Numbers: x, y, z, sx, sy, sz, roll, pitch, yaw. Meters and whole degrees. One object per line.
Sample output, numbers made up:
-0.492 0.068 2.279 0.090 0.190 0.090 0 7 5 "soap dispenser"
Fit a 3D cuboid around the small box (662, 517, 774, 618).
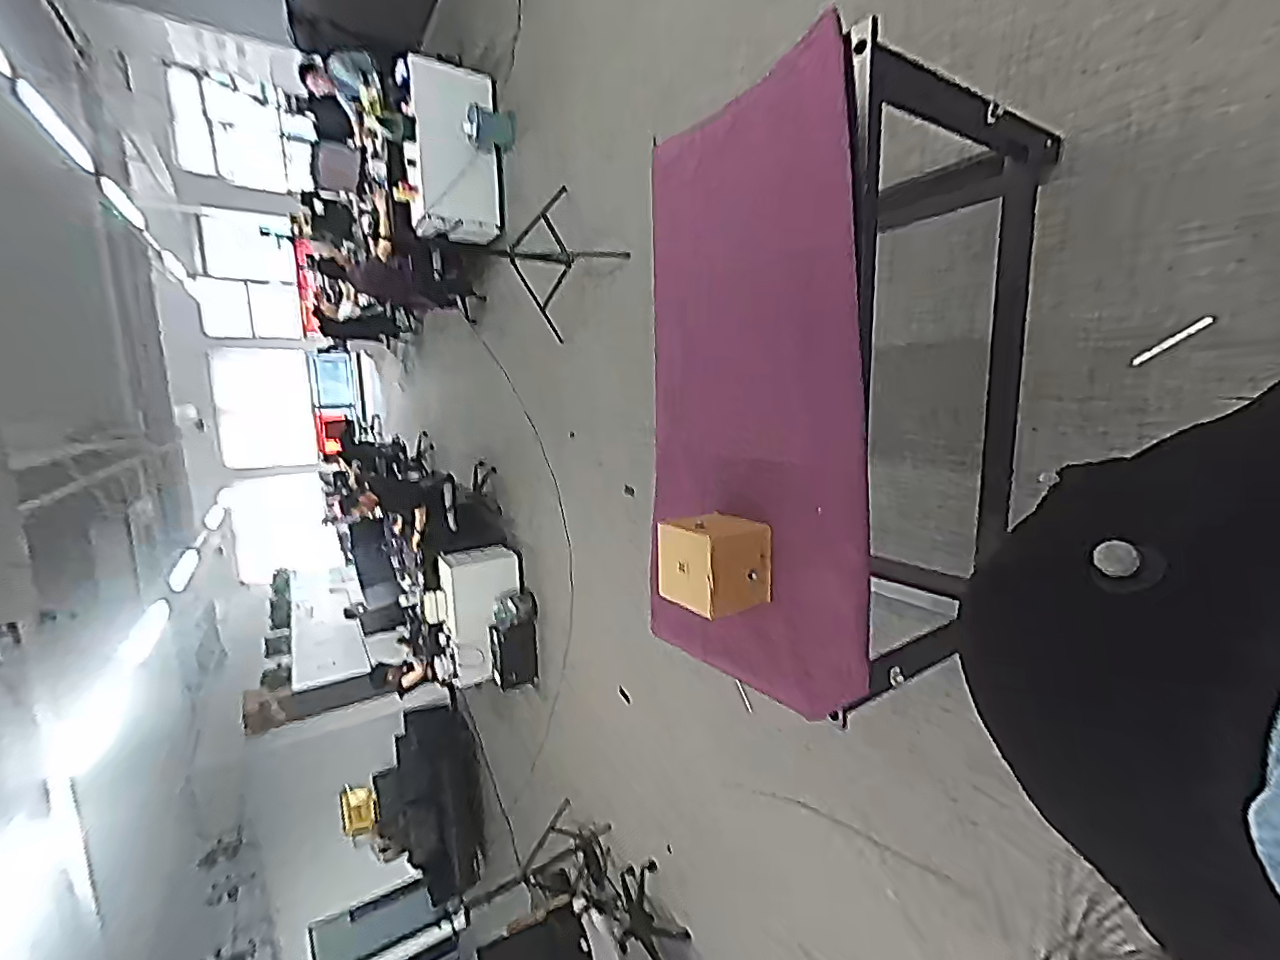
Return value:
0.164 0.176 1.159 0.179 0.176 0.168 9 103 56 "small box"
